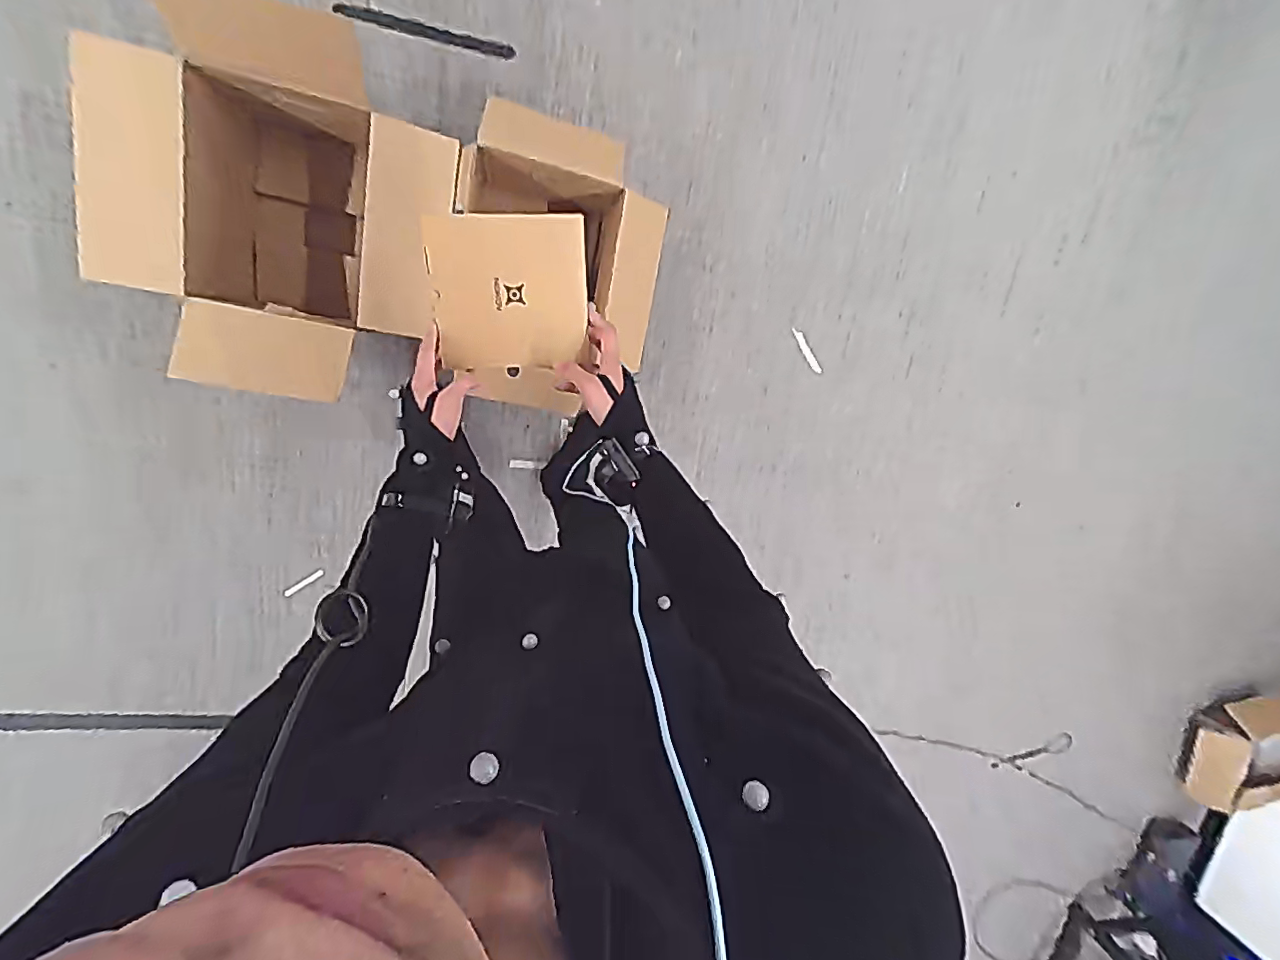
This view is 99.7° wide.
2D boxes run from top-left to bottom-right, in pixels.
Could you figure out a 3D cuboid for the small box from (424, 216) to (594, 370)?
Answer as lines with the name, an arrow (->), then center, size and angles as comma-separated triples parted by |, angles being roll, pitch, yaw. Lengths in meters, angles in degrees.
small box -> -0.155, -0.238, 0.683 | 0.179, 0.176, 0.168 | -4, 113, -7
